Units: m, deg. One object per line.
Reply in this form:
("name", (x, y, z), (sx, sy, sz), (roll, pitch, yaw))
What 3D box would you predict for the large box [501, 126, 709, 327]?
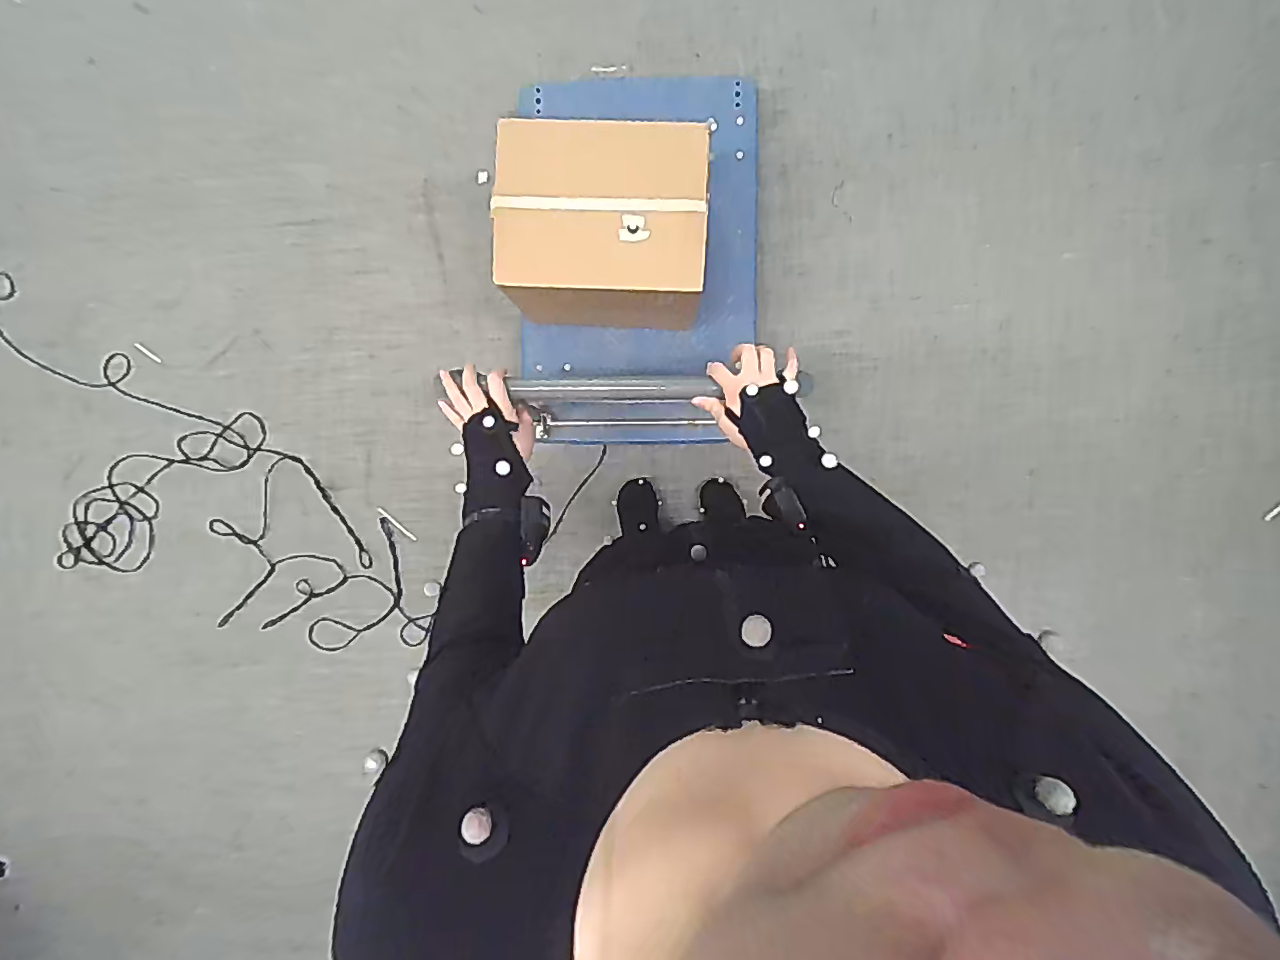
("large box", (-0.068, -0.530, 1.190), (0.408, 0.320, 0.320), (2, 92, 1))
